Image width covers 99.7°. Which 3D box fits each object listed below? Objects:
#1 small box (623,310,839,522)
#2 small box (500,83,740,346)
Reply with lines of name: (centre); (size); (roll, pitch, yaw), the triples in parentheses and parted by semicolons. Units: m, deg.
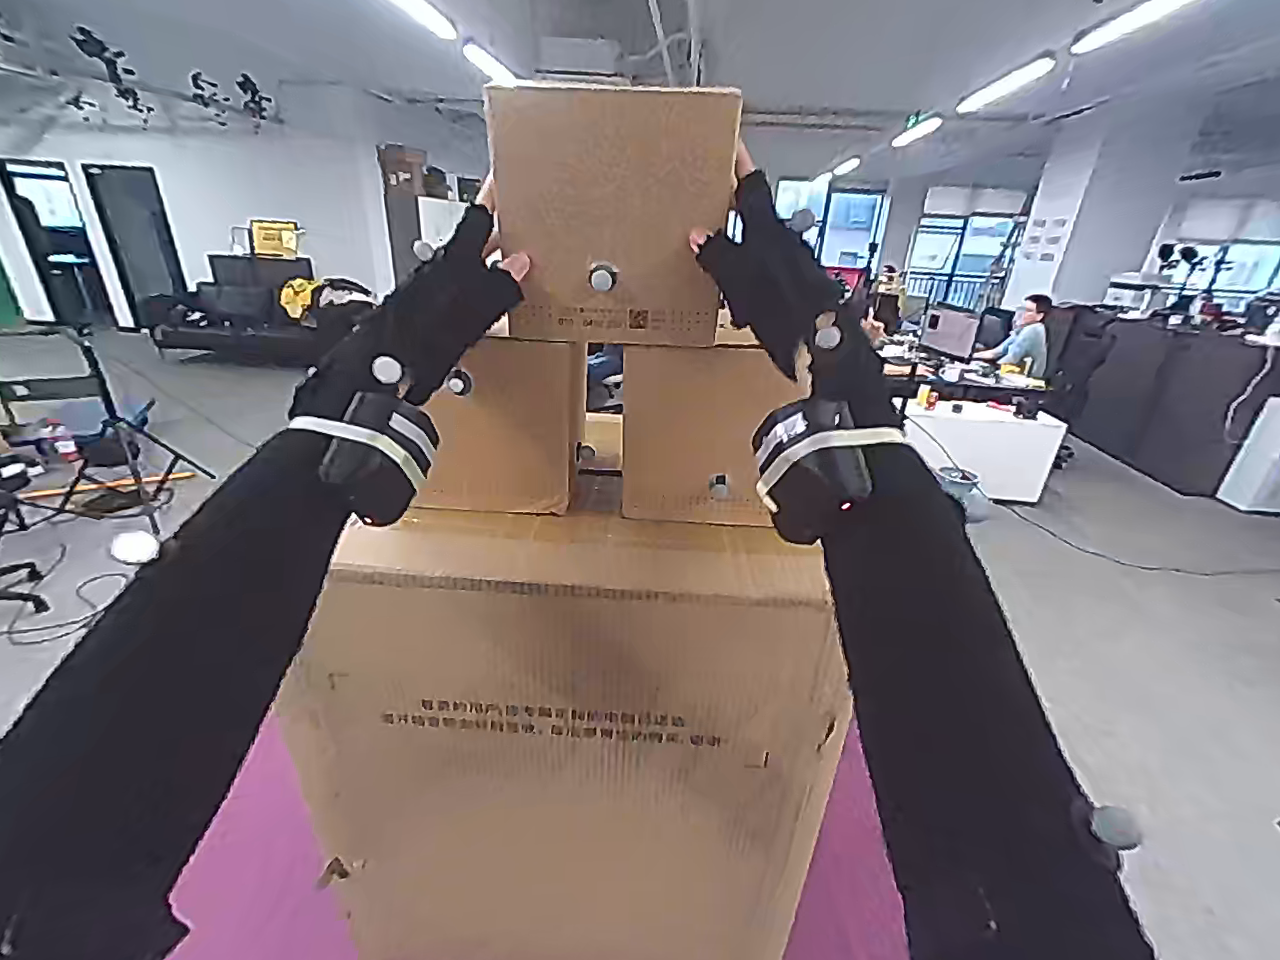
small box: (0.078, -0.069, 0.543); (0.179, 0.176, 0.168); (2, 26, 3)
small box: (-0.012, -0.224, 0.469); (0.168, 0.176, 0.179); (3, 29, 2)
